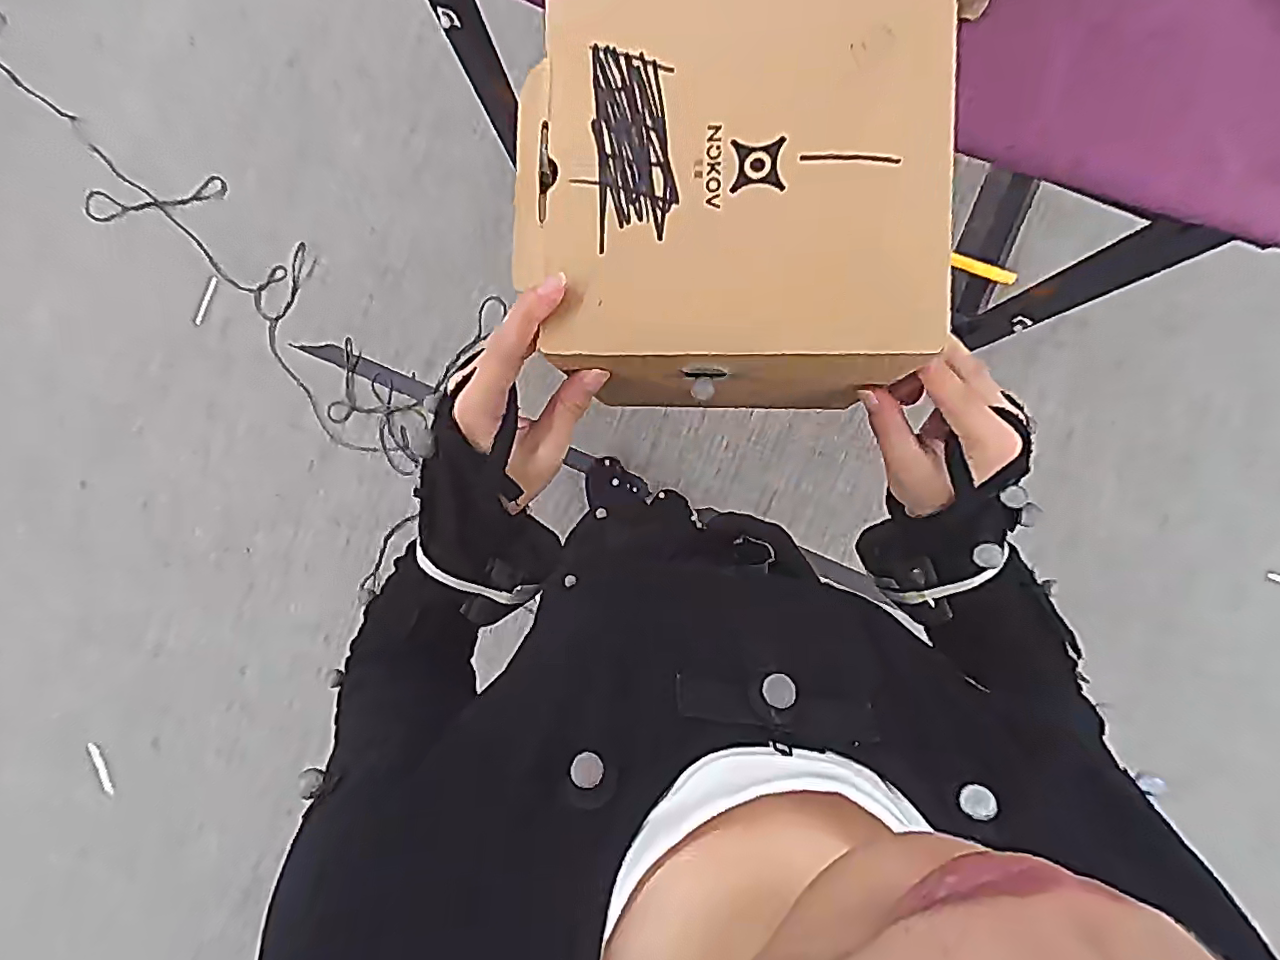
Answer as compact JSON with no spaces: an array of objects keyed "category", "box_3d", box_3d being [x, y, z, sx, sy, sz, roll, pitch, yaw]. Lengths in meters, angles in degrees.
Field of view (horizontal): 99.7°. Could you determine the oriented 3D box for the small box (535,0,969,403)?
[{"category":"small box","box_3d":[0.053,-0.137,0.304,0.179,0.176,0.168,2,90,7]}]
